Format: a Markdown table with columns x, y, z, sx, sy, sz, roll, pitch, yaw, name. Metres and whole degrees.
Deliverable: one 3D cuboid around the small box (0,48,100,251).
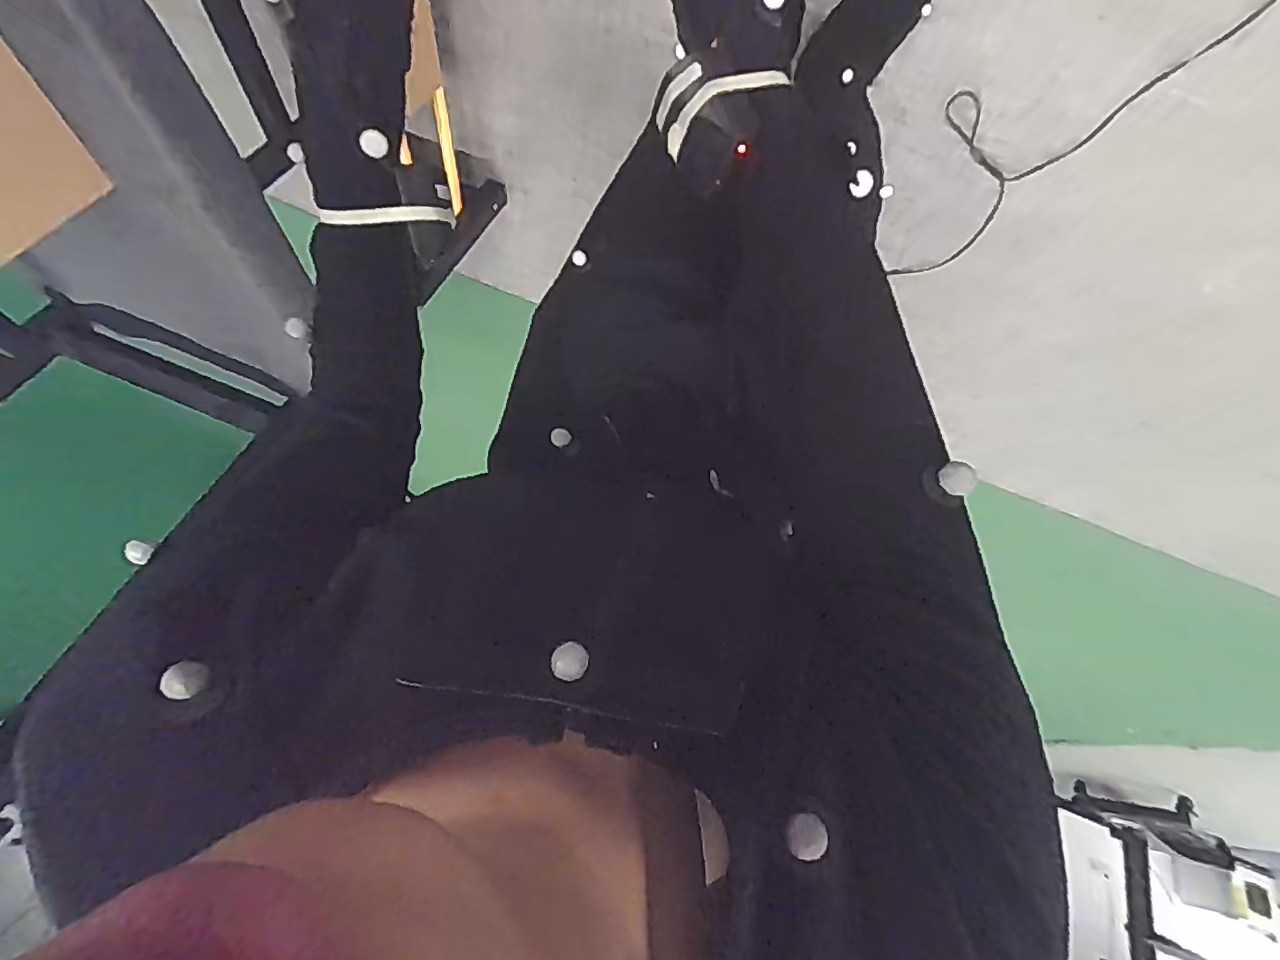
| x | y | z | sx | sy | sz | roll | pitch | yaw | name |
| --- | --- | --- | --- | --- | --- | --- | --- | --- | --- |
| -0.738 | -0.364 | 0.553 | 0.168 | 0.176 | 0.179 | 23 | 152 | 0 | small box |
